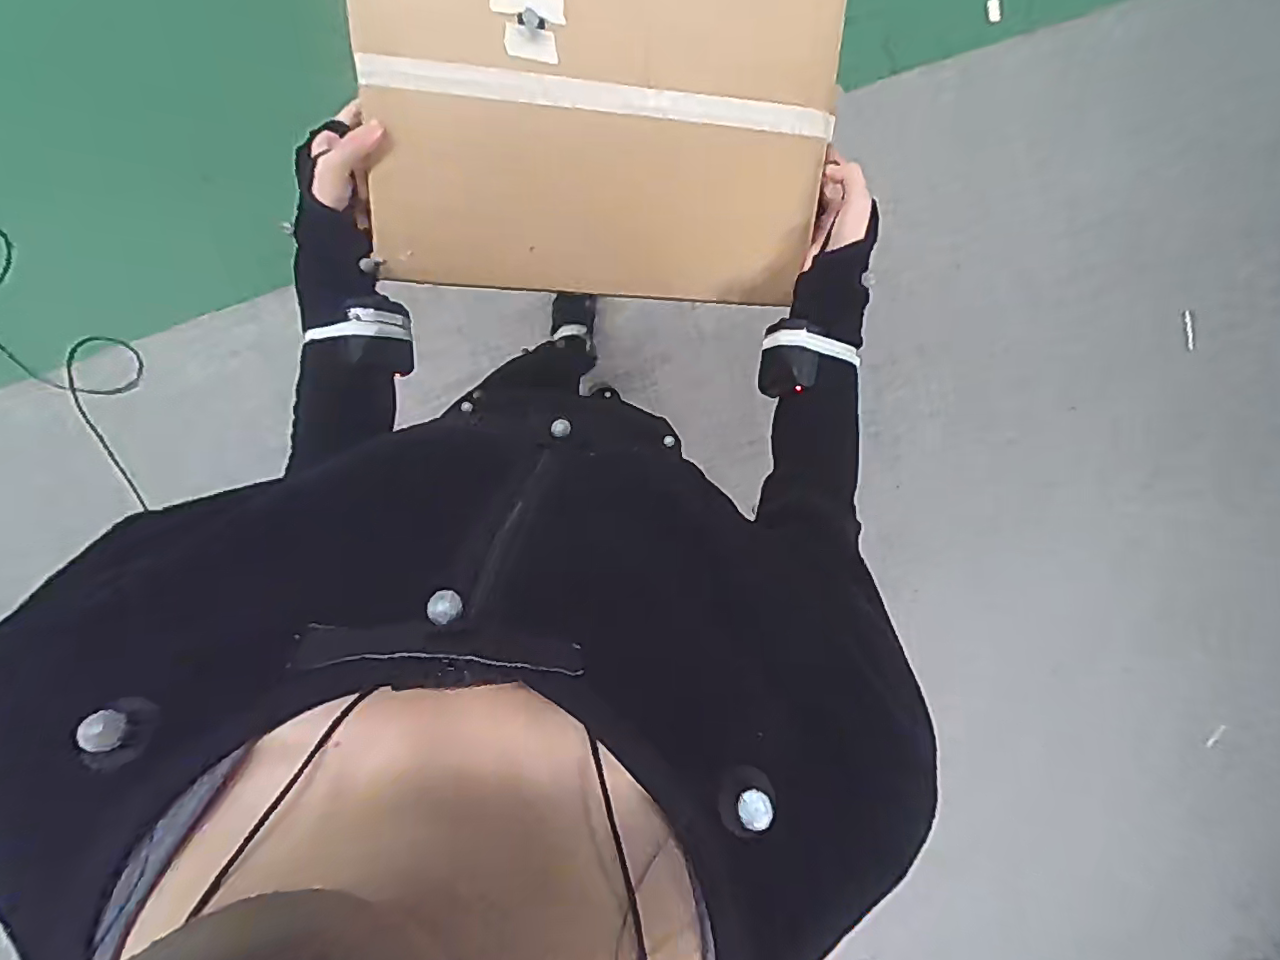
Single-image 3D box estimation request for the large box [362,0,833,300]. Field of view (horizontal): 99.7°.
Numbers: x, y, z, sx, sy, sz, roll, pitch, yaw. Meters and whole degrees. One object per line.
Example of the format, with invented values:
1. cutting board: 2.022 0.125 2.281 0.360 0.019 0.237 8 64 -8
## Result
1. large box: -0.050 -0.383 0.618 0.408 0.320 0.320 1 109 -9
